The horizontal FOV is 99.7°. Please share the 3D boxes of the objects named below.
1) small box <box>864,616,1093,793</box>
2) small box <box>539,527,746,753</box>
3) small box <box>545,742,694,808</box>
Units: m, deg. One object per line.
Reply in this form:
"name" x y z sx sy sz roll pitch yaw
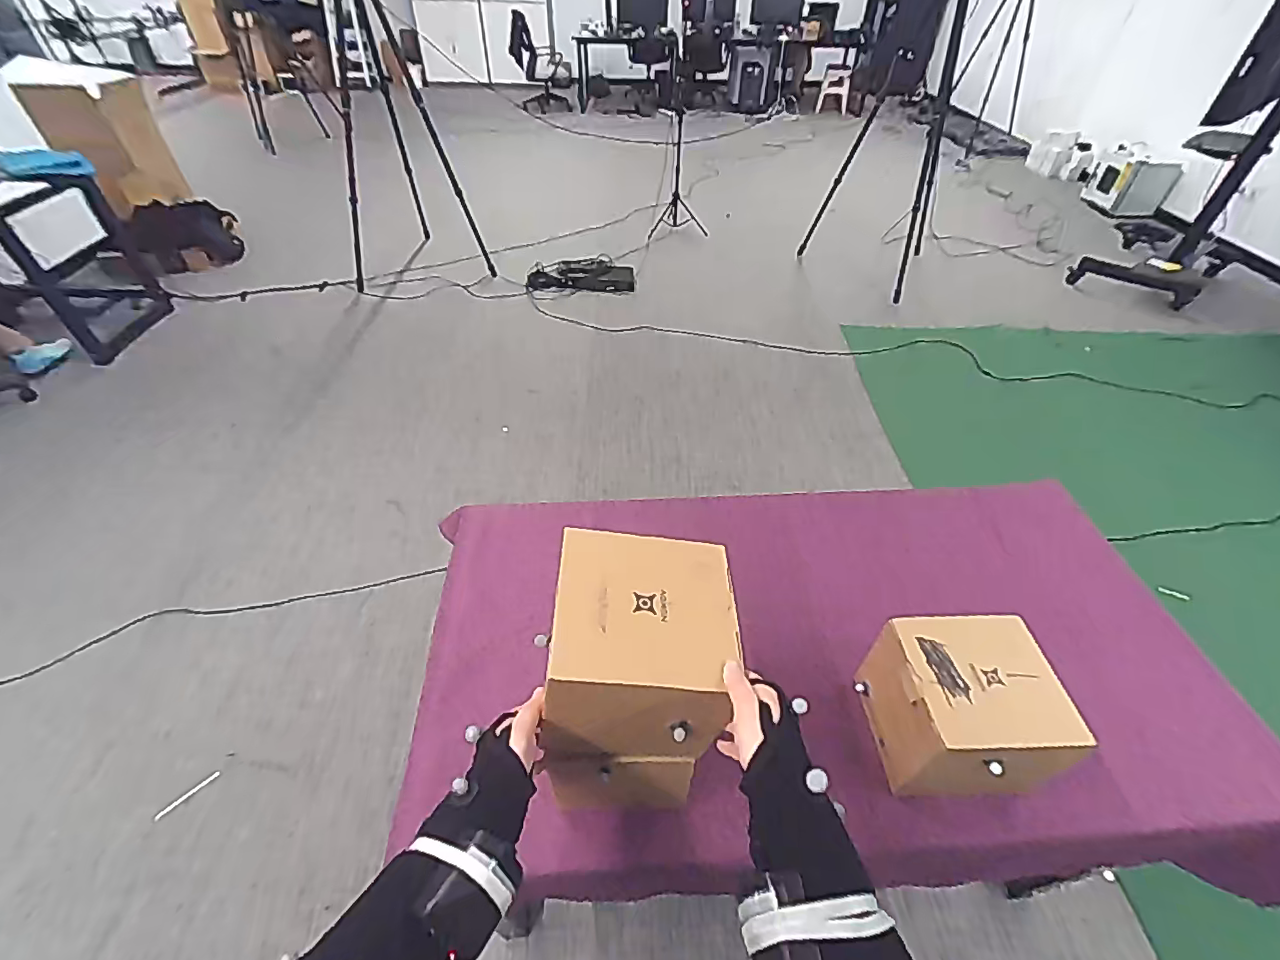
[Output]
"small box" 0.412 0.294 0.704 0.179 0.176 0.168 0 45 -2
"small box" -0.005 0.174 0.572 0.179 0.176 0.168 7 44 -7
"small box" -0.024 0.298 0.696 0.168 0.176 0.179 0 44 -1
